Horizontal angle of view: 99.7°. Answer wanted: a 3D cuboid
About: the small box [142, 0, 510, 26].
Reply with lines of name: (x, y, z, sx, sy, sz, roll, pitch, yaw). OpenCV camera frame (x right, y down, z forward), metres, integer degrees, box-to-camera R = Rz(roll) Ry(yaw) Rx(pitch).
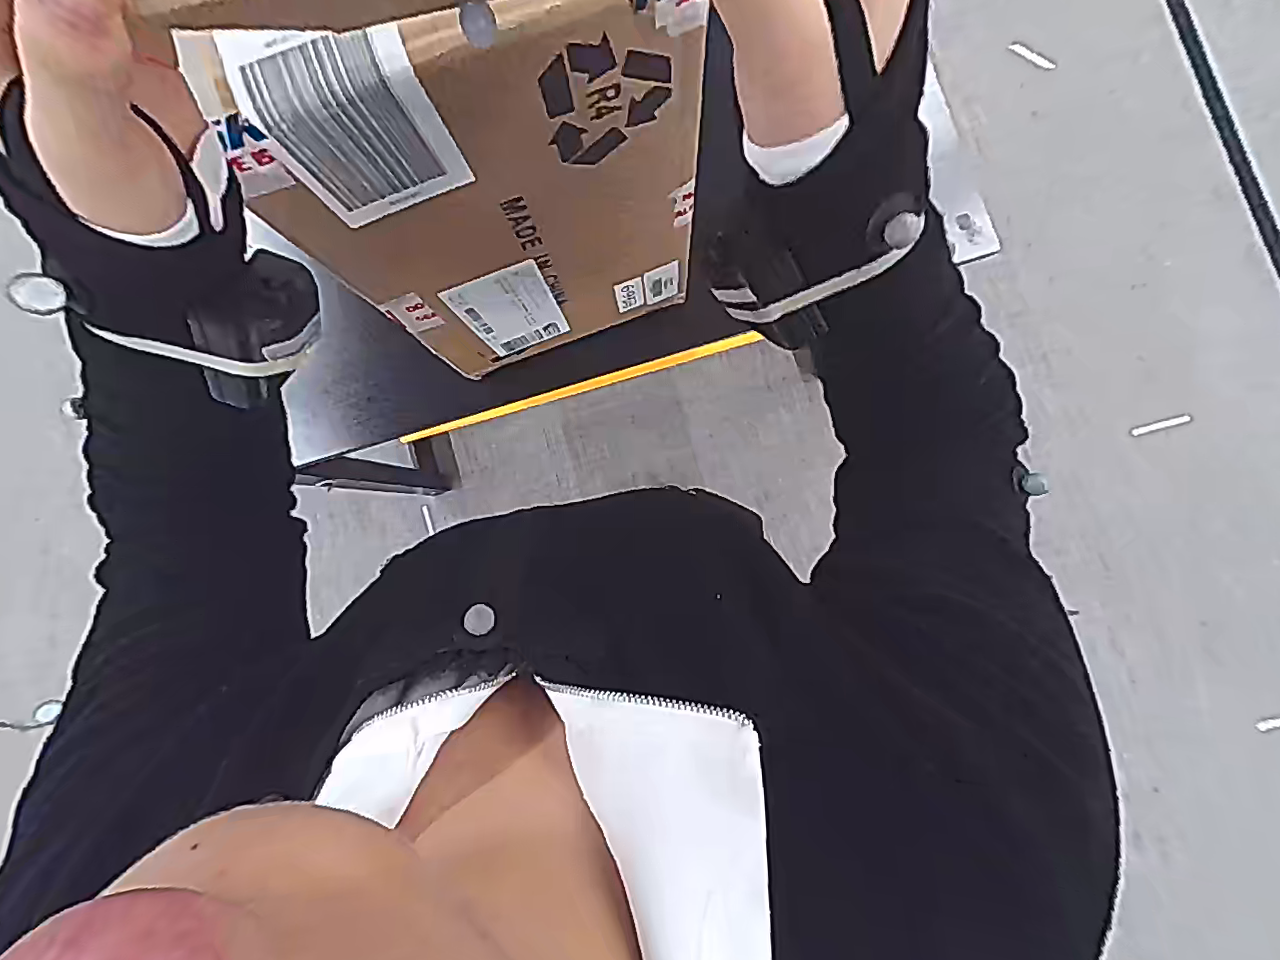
small box: (-0.070, -0.250, 0.148, 0.168, 0.176, 0.179, -9, 130, 2)
